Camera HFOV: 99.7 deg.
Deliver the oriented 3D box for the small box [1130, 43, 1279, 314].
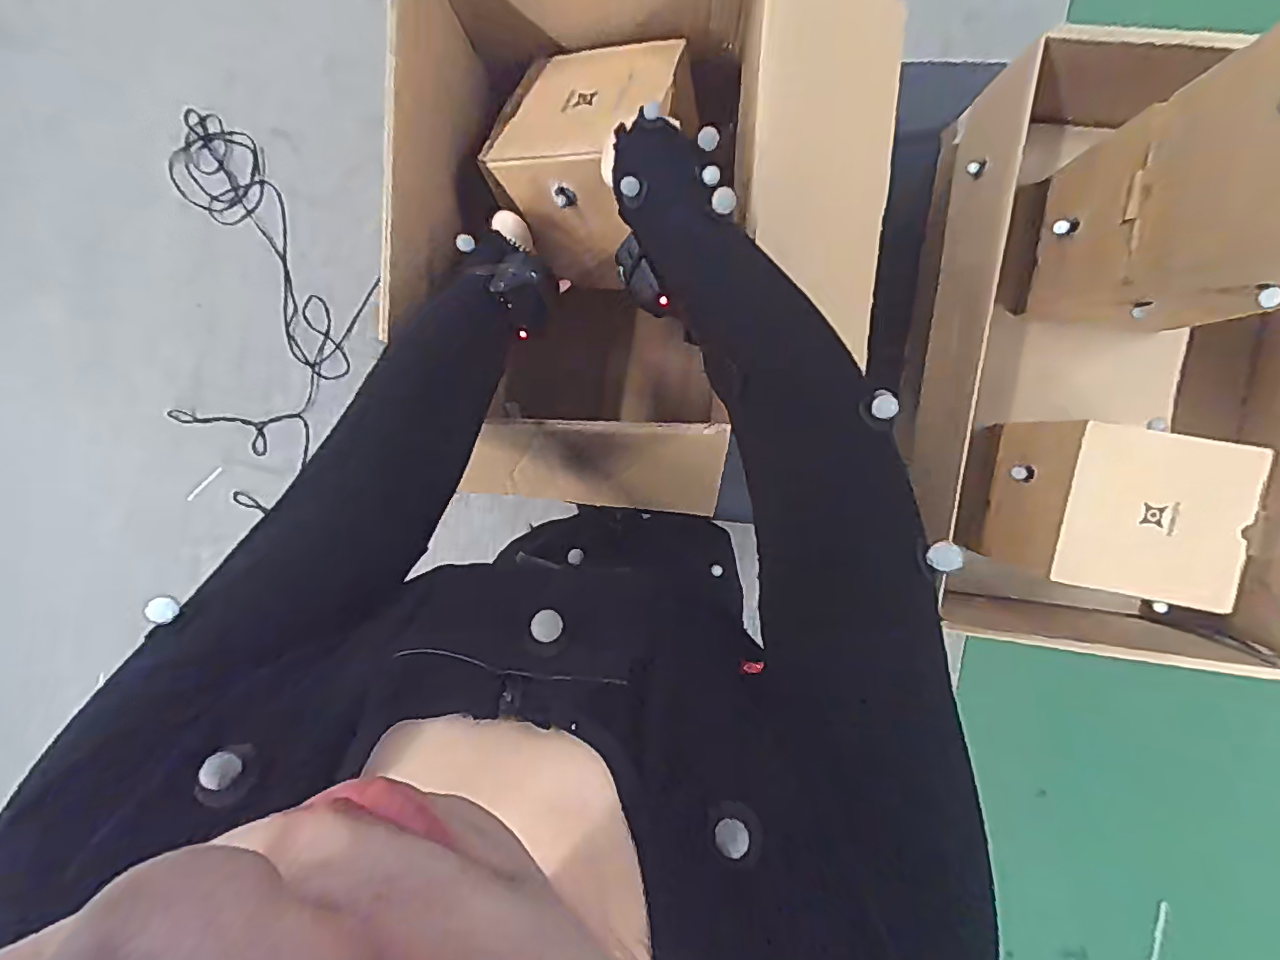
[{"bbox_3d":[0.546,-0.243,0.425,0.168,0.176,0.179,7,97,3],"label":"small box"}]
